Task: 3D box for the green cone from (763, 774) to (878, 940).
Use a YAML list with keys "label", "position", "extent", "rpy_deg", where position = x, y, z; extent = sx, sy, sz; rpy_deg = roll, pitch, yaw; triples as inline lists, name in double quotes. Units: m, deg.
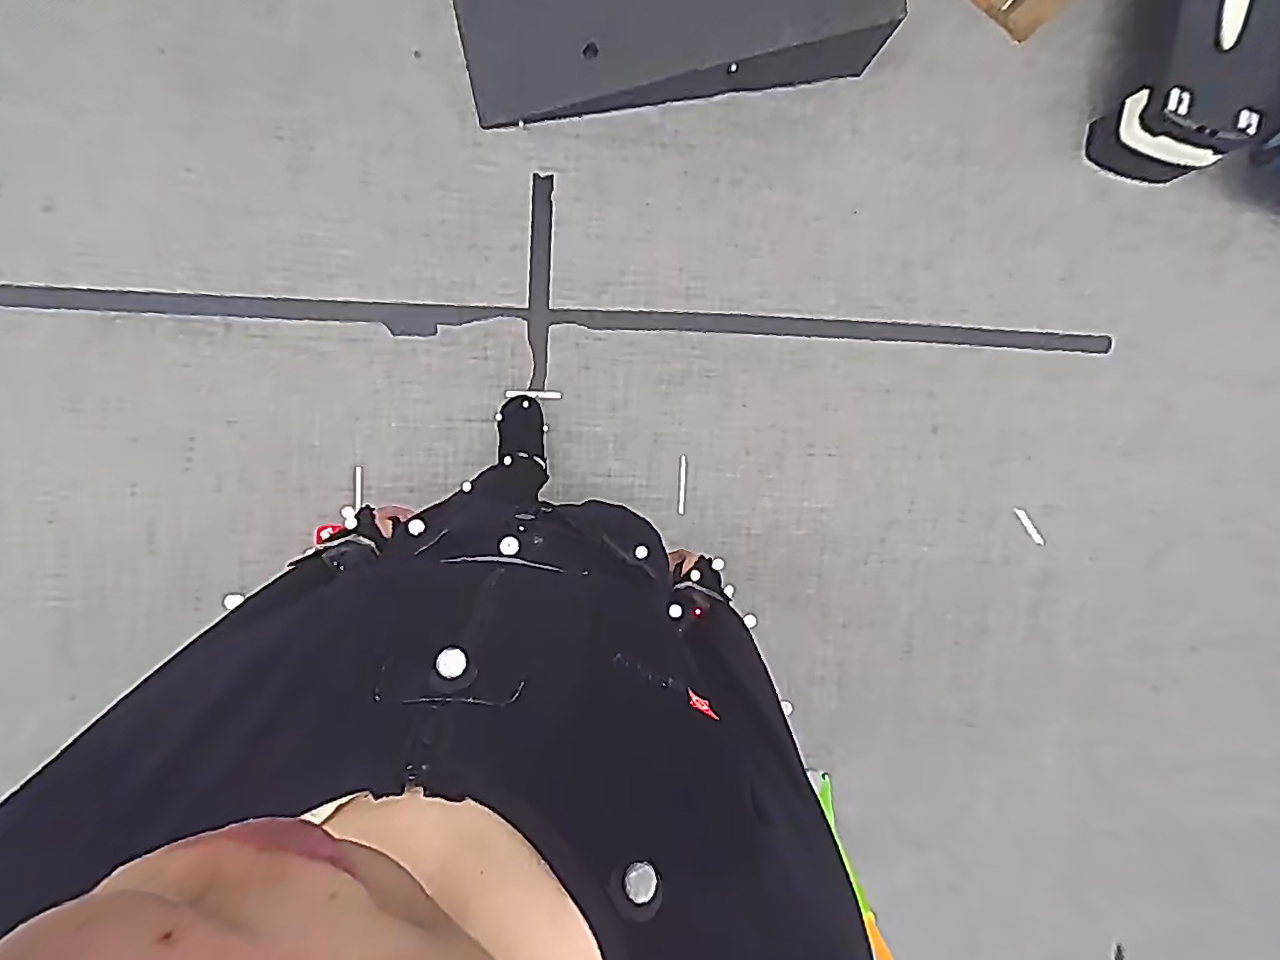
- label: "green cone"
  position: [0.459, 0.933, 1.317]
  extent: [0.200, 0.368, 0.202]
  rpy_deg: [-9, 96, -6]
